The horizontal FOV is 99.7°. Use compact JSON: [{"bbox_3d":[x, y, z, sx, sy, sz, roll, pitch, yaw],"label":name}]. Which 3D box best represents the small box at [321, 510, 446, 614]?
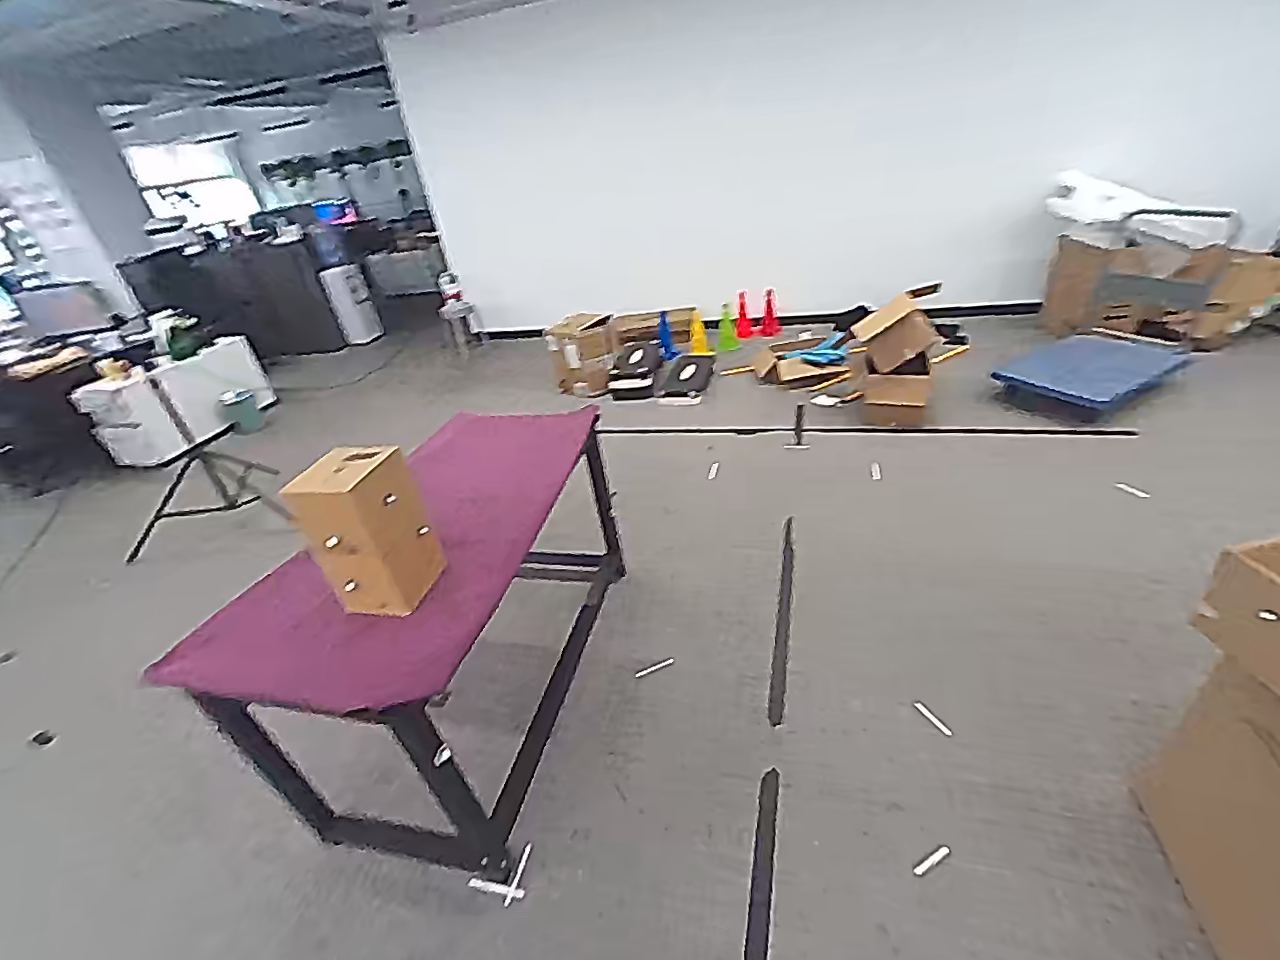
[{"bbox_3d":[-0.570,0.186,1.232,0.168,0.176,0.179,0,33,14],"label":"small box"}]

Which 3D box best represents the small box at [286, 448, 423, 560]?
[{"bbox_3d":[-0.587,0.047,1.146,0.168,0.176,0.179,-1,33,14],"label":"small box"}]
